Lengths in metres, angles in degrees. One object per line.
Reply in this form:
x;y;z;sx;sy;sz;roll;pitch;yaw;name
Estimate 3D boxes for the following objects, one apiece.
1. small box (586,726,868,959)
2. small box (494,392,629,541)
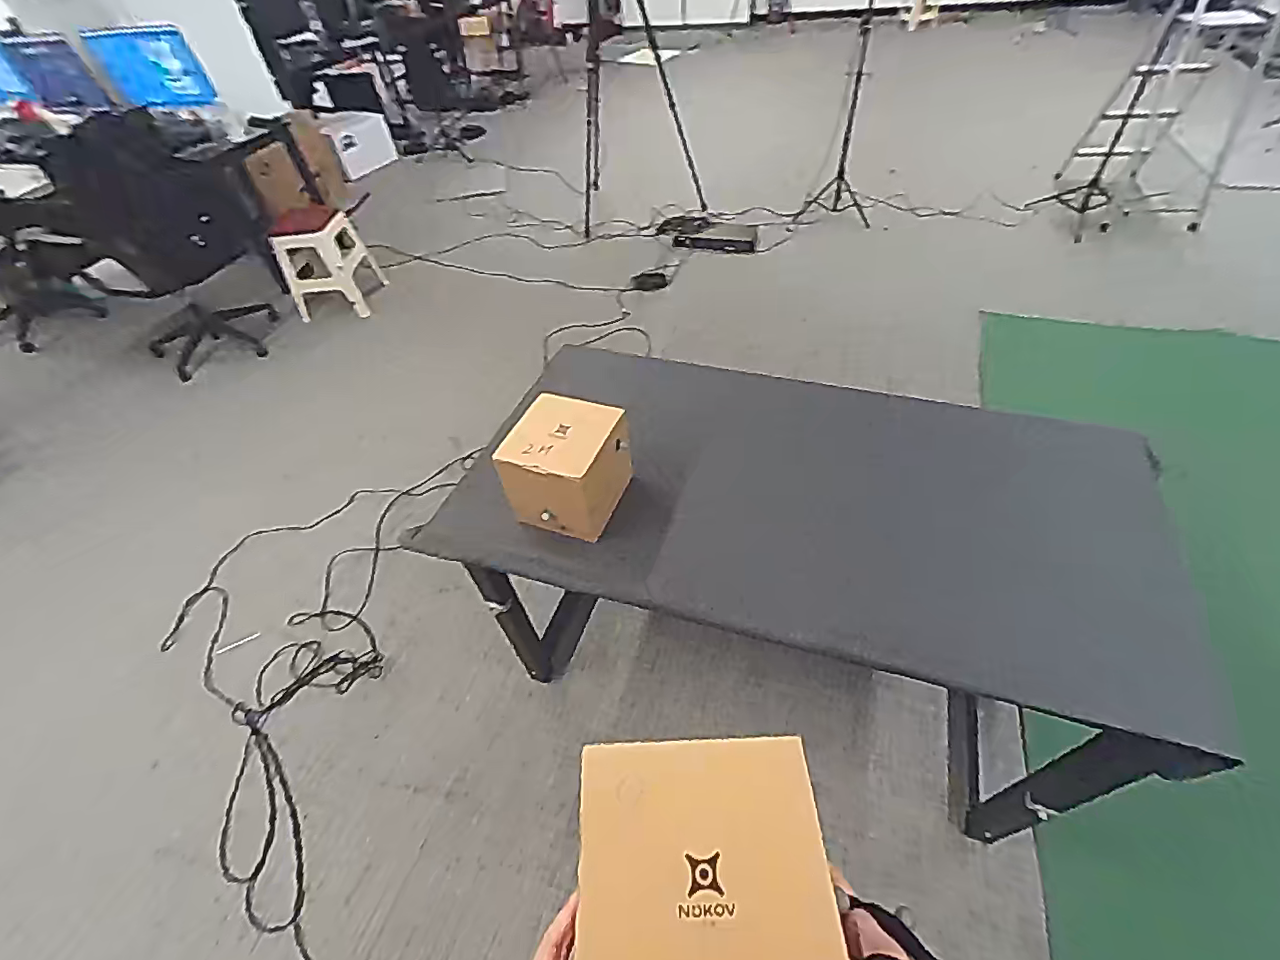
0.048;0.302;0.398;0.168;0.176;0.179;0;47;-1;small box
-0.126;-0.025;0.951;0.168;0.176;0.179;14;50;17;small box
